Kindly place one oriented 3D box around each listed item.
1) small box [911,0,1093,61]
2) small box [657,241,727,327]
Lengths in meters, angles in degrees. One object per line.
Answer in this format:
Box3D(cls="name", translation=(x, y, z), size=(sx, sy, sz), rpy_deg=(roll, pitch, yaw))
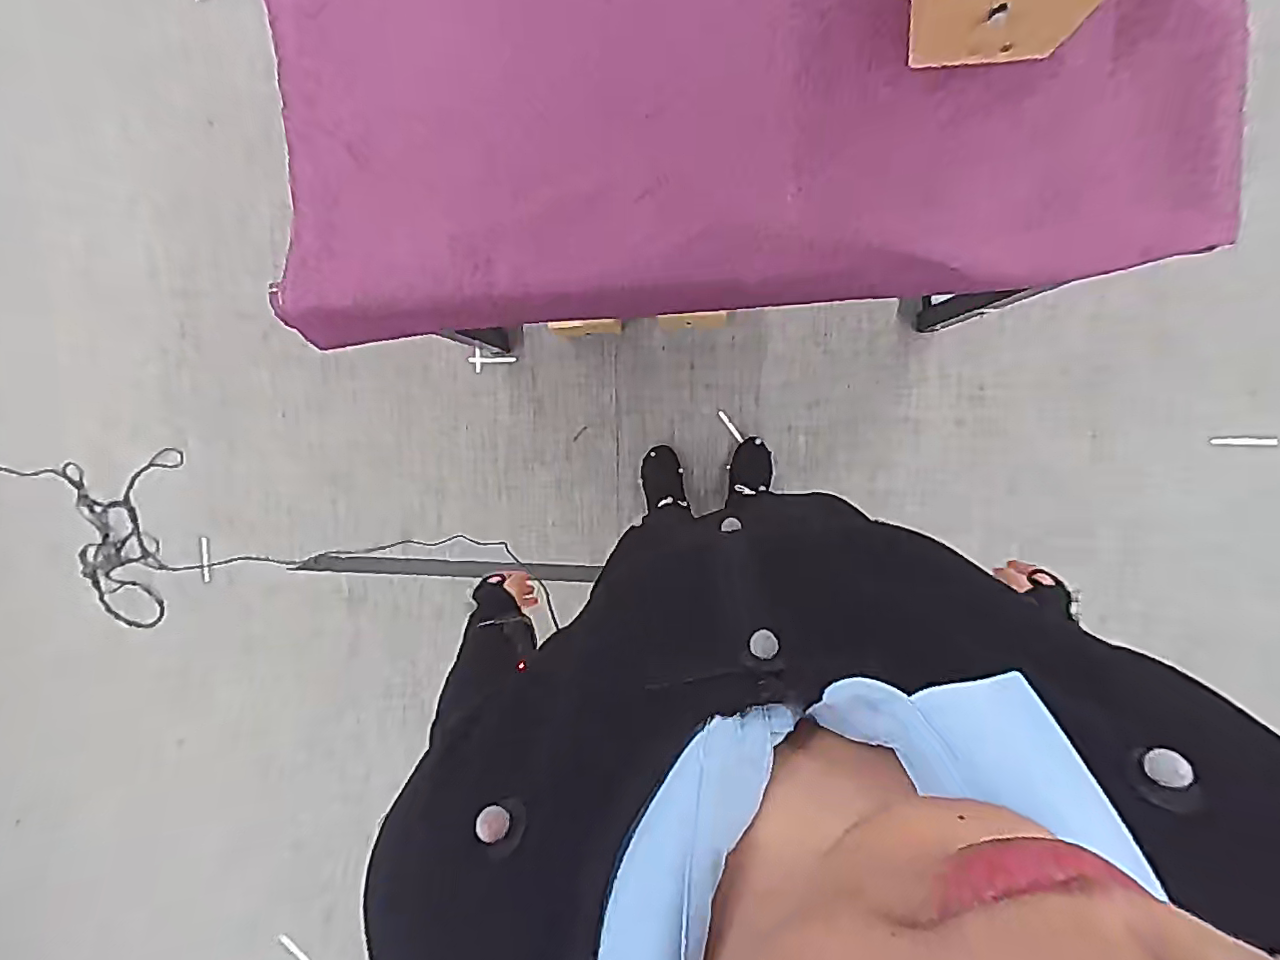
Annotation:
Box3D(cls="small box", translation=(0.415, -0.598, 0.592), size=(0.168, 0.176, 0.179), rpy_deg=(0, 95, 6))
Box3D(cls="small box", translation=(0.129, -0.486, 1.362), size=(0.168, 0.176, 0.179), rpy_deg=(1, 96, 4))
